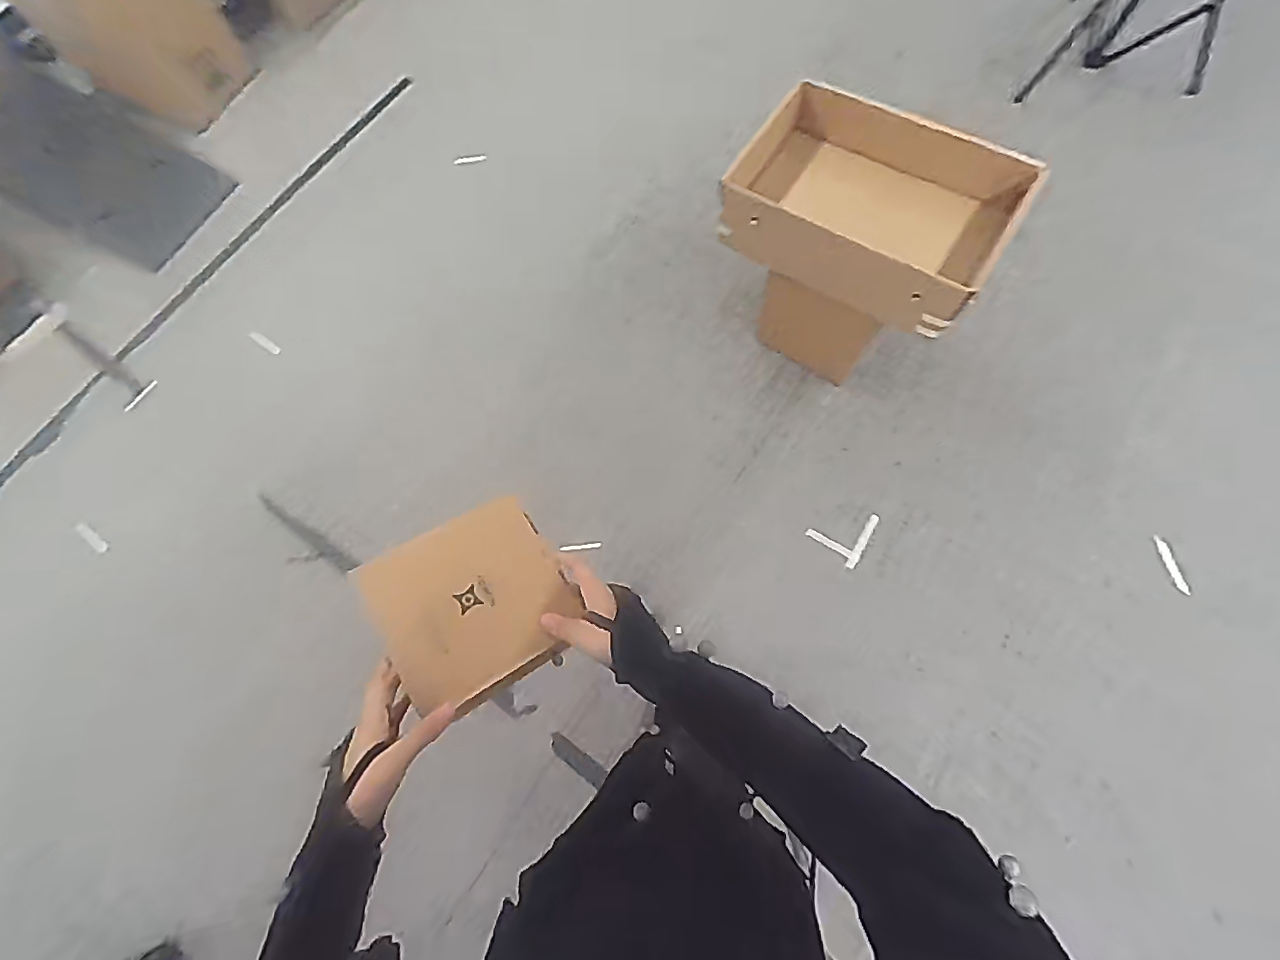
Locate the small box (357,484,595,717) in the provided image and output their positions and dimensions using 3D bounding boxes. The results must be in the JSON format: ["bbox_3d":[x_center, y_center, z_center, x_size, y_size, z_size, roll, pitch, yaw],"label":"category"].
[{"bbox_3d":[-0.170,0.136,0.594,0.179,0.176,0.168,-28,74,-19],"label":"small box"}]
